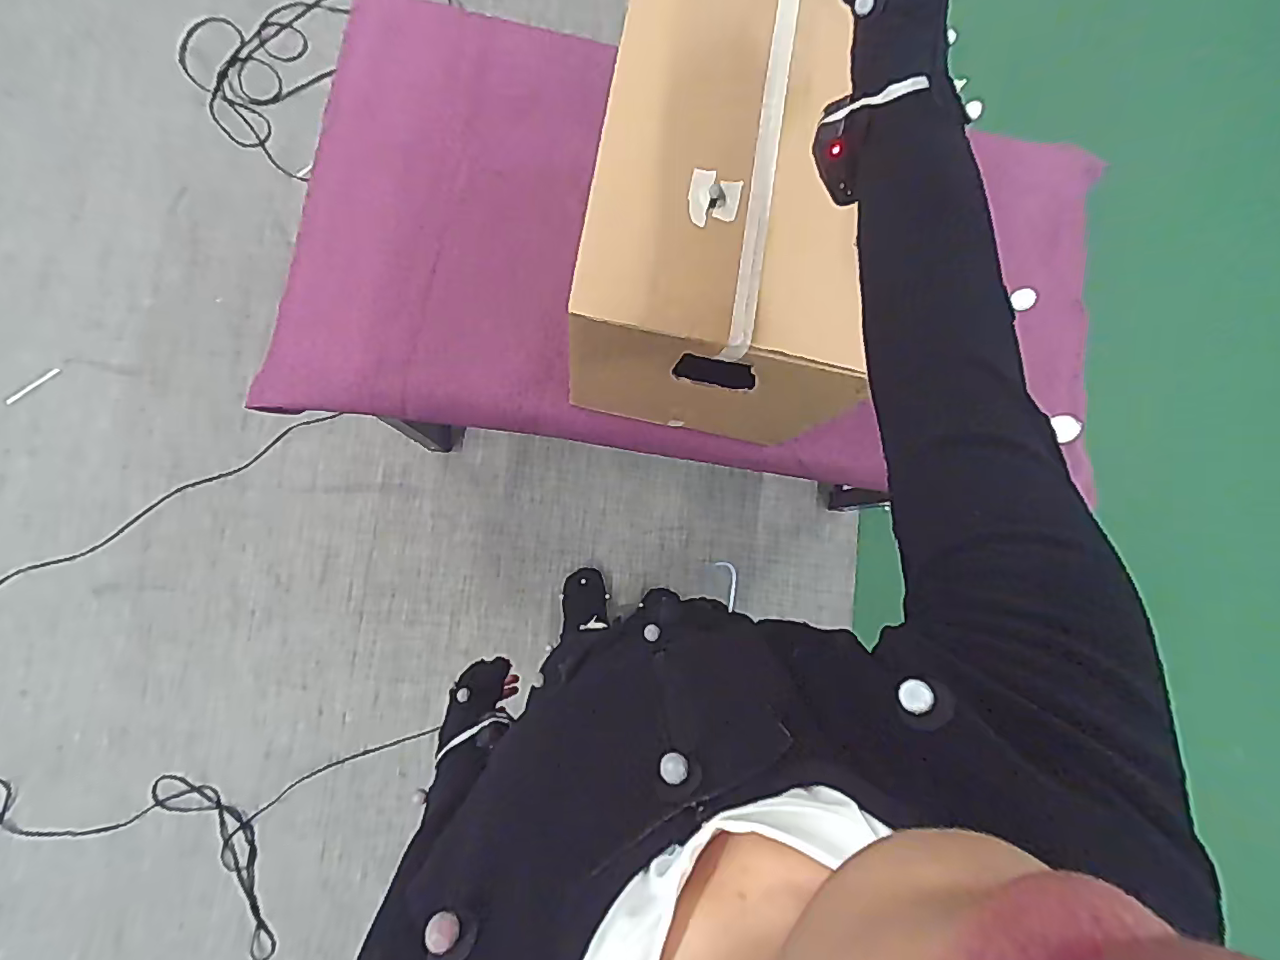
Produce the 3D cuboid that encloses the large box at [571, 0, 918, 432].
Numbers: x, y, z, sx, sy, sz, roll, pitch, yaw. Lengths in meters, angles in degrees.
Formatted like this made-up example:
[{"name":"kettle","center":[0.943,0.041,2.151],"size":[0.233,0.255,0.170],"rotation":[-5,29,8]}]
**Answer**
[{"name":"large box","center":[0.099,-0.306,0.680],"size":[0.320,0.320,0.408],"rotation":[10,83,-6]}]
